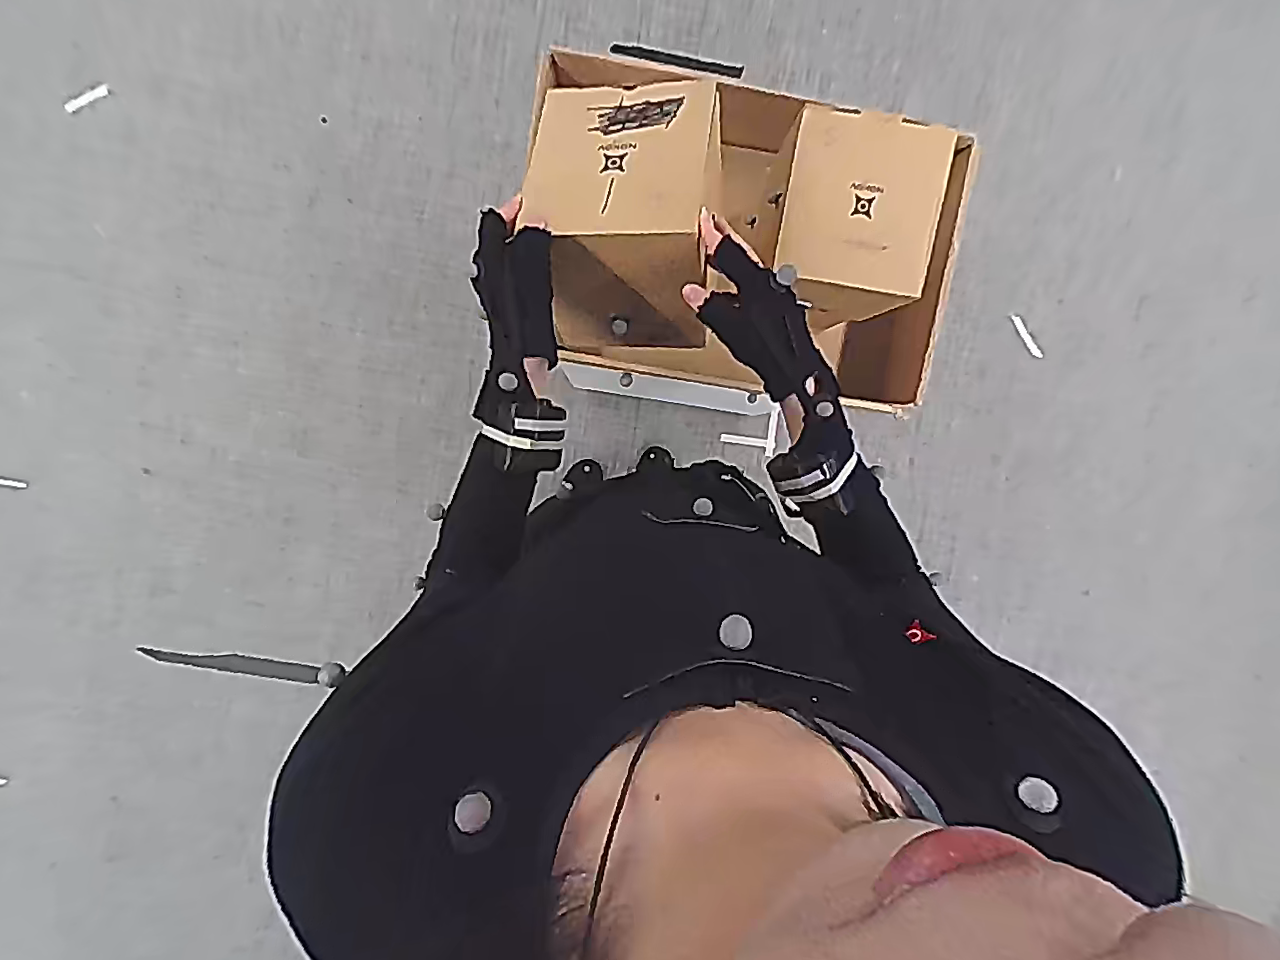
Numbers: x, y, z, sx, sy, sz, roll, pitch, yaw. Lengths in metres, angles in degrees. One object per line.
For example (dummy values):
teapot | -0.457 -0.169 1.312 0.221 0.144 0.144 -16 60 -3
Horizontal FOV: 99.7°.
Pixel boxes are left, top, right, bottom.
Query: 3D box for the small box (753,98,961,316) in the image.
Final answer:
small box | 0.241 -0.310 0.649 0.168 0.176 0.179 9 98 0

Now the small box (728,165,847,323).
small box | 0.243 -0.339 0.811 0.179 0.176 0.168 9 97 -2

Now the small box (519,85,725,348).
small box | -0.002 -0.259 0.556 0.168 0.176 0.179 3 69 12
